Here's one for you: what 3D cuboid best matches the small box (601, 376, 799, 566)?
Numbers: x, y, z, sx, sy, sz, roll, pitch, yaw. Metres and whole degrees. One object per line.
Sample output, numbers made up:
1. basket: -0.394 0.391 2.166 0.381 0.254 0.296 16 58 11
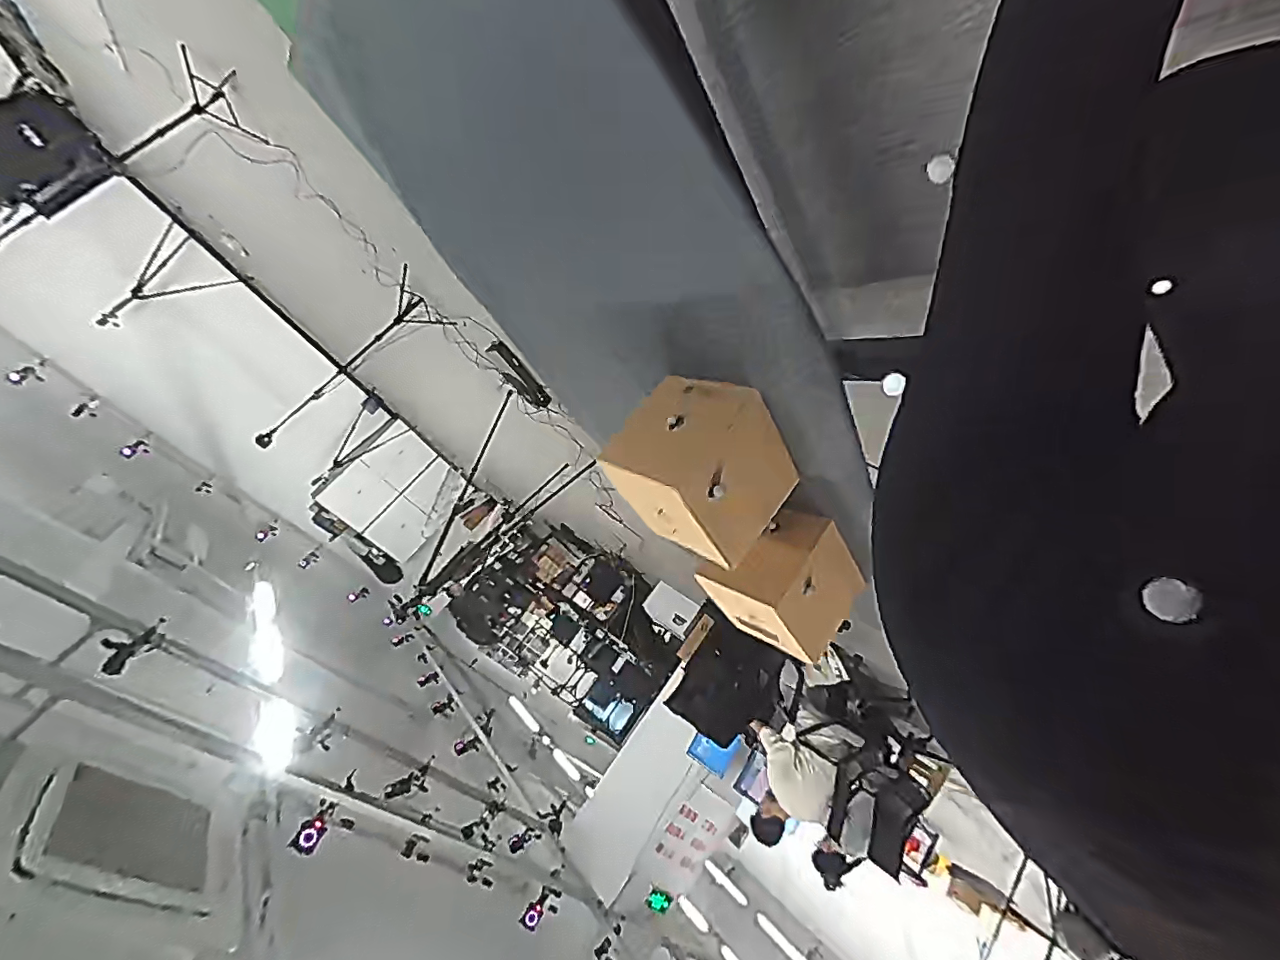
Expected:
1. small box: 0.087 -0.020 0.735 0.168 0.176 0.179 22 157 48
